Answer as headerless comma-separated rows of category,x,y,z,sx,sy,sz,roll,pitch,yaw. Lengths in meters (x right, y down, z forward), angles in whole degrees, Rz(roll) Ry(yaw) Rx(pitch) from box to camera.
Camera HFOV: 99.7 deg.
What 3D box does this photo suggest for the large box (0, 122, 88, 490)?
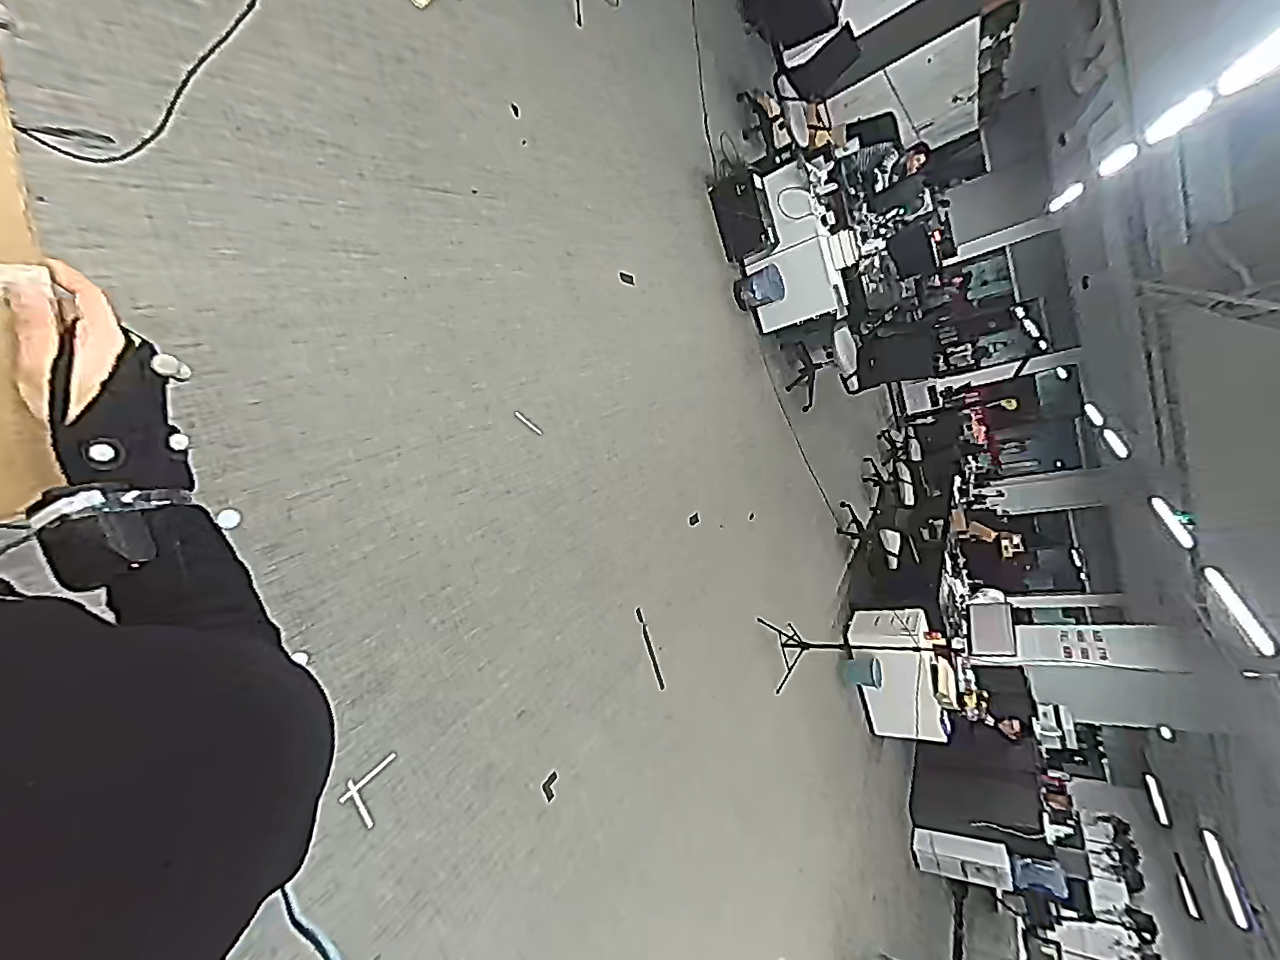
large box,-0.638,-0.140,0.275,0.408,0.320,0.320,-23,128,-54
